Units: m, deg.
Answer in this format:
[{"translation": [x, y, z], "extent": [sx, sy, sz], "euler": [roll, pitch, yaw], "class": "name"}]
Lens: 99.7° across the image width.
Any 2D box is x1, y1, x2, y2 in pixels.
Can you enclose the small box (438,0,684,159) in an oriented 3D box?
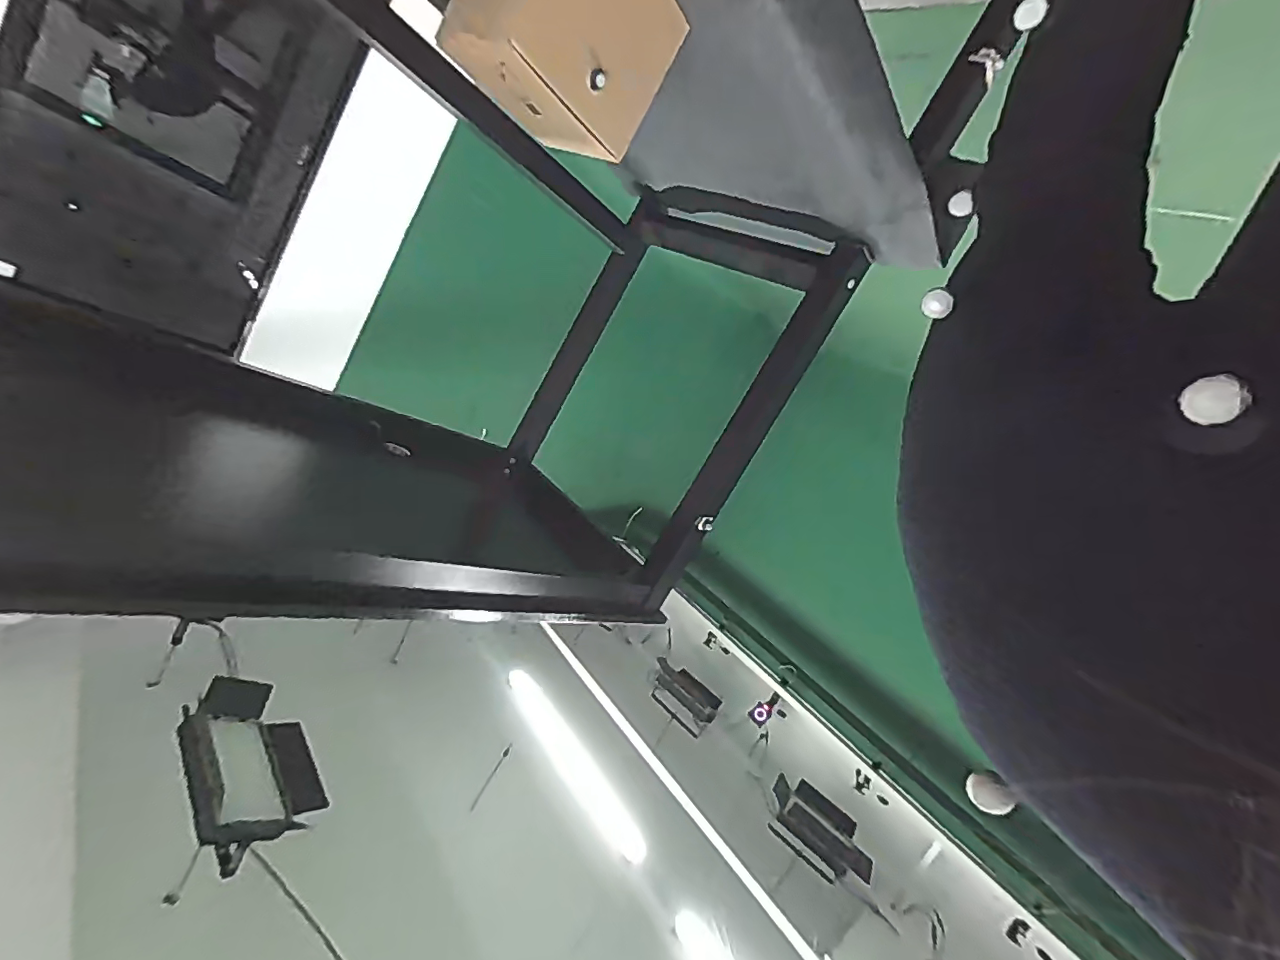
[{"translation": [-0.082, -0.502, 0.603], "extent": [0.168, 0.176, 0.179], "euler": [36, -169, 36], "class": "small box"}]
